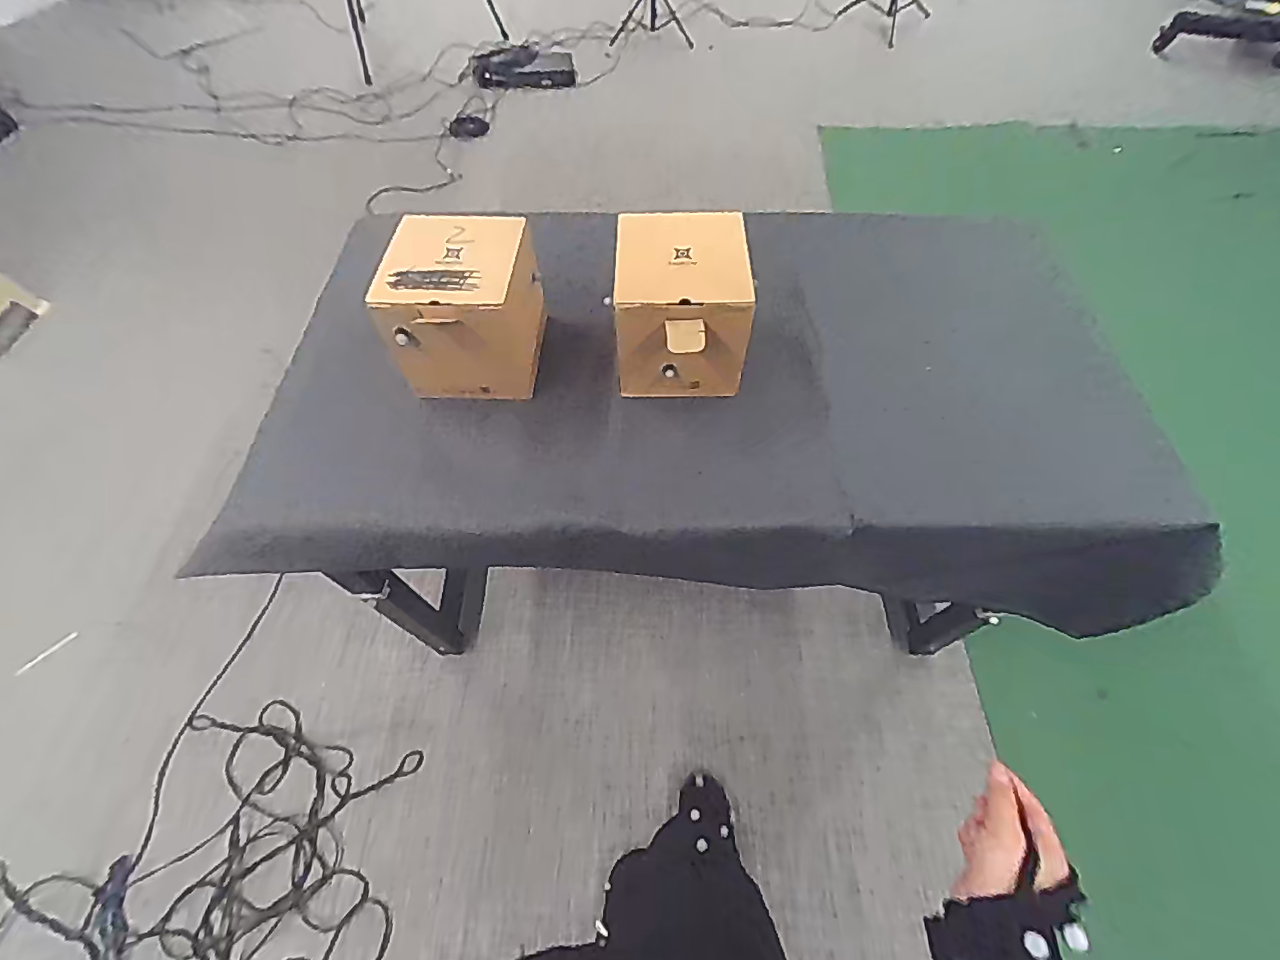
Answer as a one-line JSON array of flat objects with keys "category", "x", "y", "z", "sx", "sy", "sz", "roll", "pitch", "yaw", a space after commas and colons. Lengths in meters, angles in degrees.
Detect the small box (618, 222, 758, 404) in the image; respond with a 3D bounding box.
[{"category": "small box", "x": 0.056, "y": -0.224, "z": 0.738, "sx": 0.168, "sy": 0.176, "sz": 0.179, "roll": 0, "pitch": 59, "yaw": 1}]
